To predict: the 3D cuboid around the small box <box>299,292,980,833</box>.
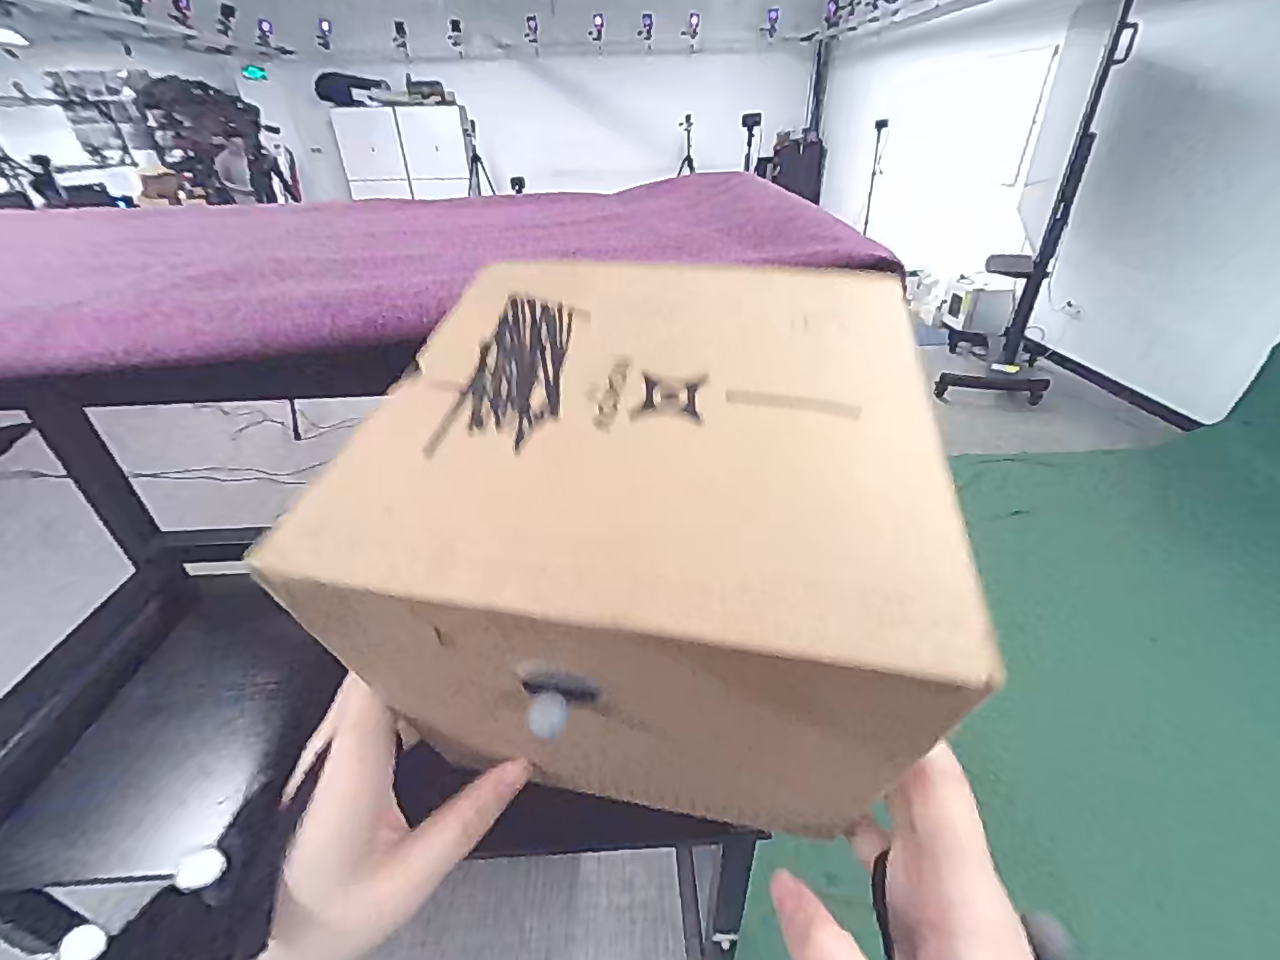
[{"bbox_3d":[0.010,0.037,0.242,0.179,0.176,0.168,6,49,9],"label":"small box"}]
